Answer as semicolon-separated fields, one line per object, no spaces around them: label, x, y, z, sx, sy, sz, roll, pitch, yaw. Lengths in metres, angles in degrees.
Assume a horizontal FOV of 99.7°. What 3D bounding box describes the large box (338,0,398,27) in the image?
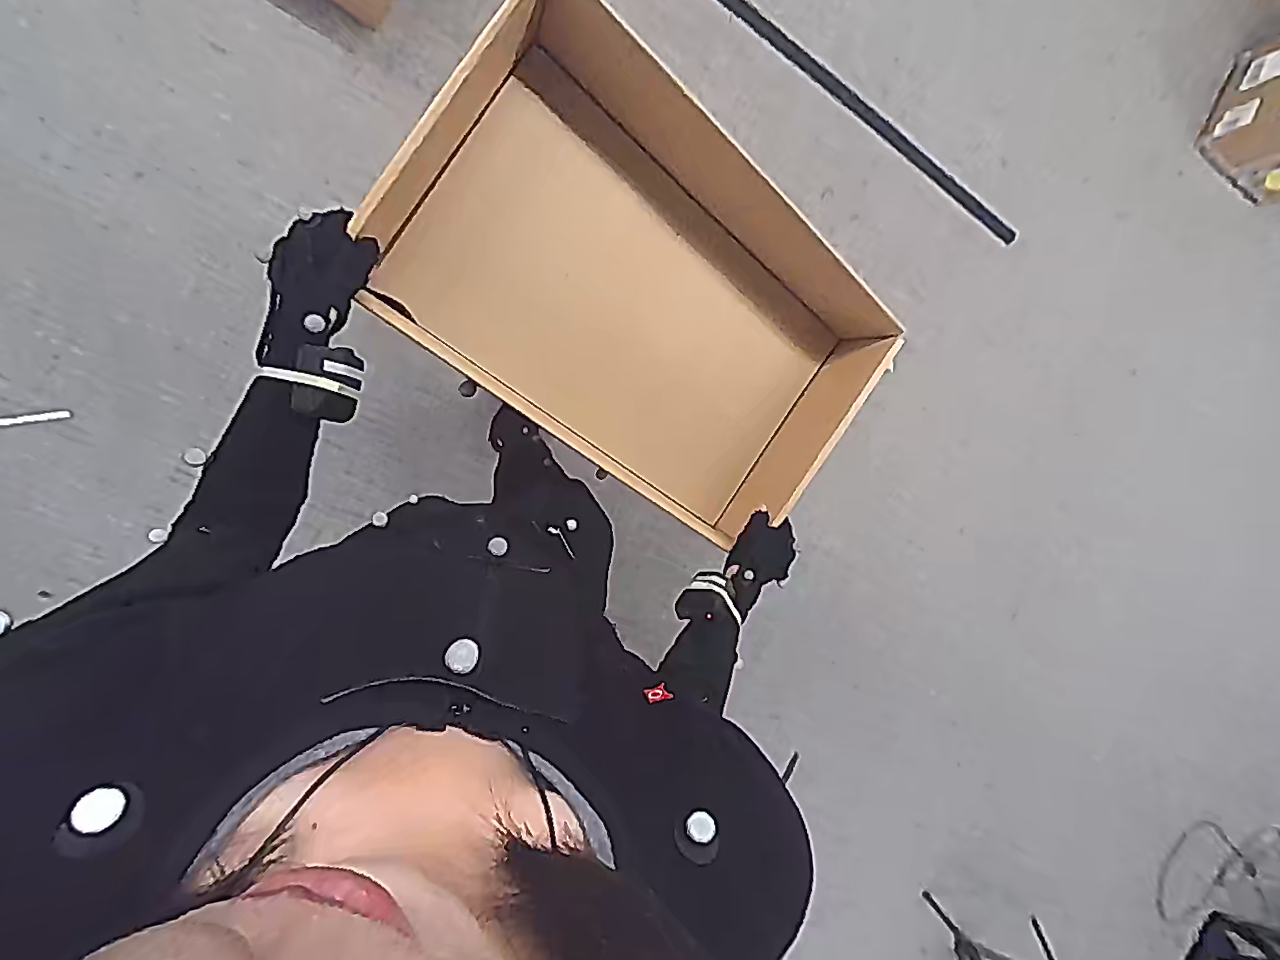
large box;-0.662;-1.236;1.049;0.408;0.320;0.320;26;92;-17
